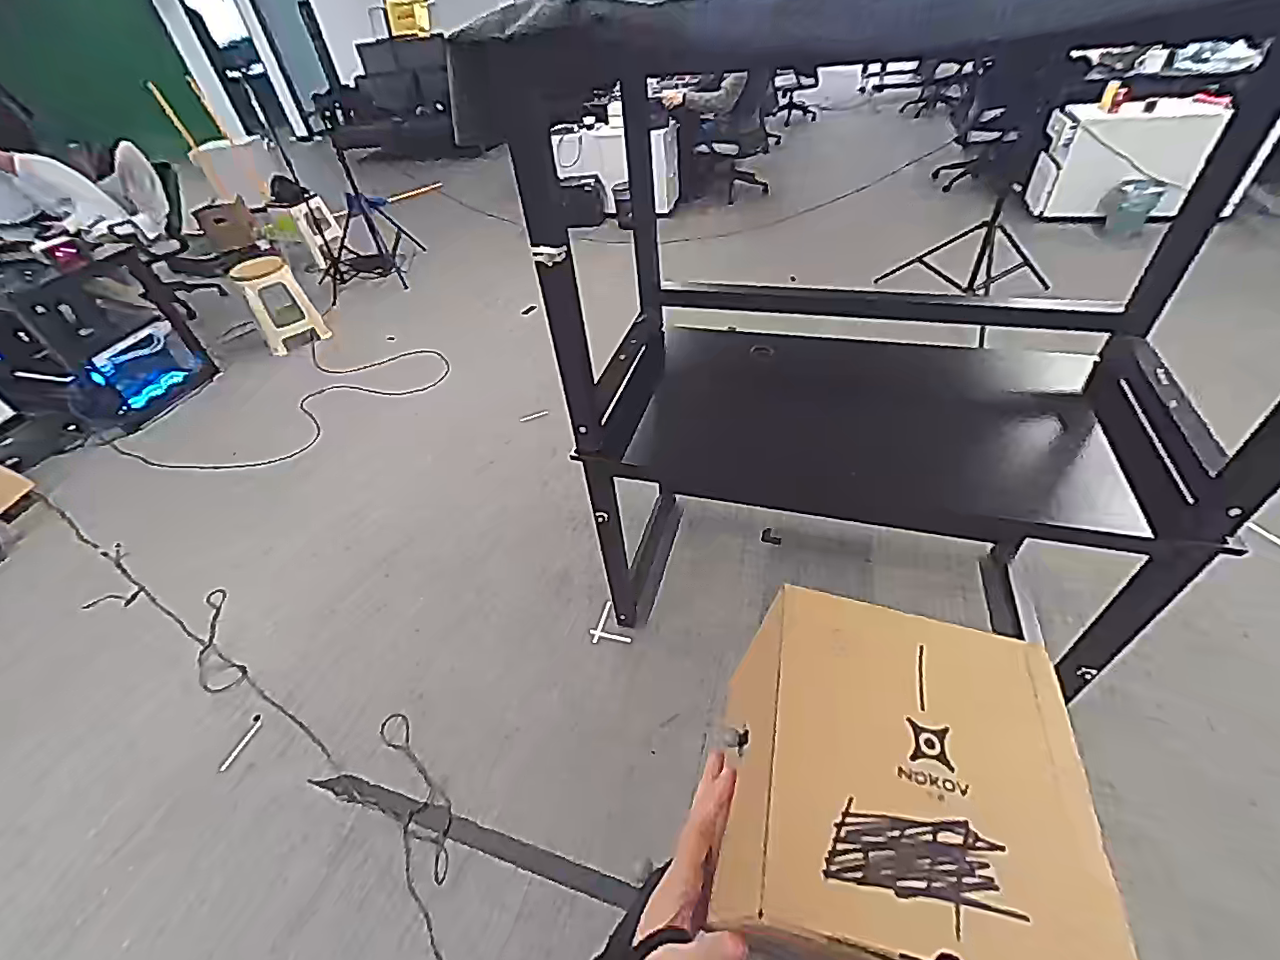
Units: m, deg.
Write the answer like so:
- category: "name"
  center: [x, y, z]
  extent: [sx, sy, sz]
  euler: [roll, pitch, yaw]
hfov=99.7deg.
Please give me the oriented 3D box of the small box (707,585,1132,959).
- category: "small box"
  center: [0.144, 0.200, 0.343]
  extent: [0.168, 0.176, 0.179]
  euler: [13, 48, 6]
